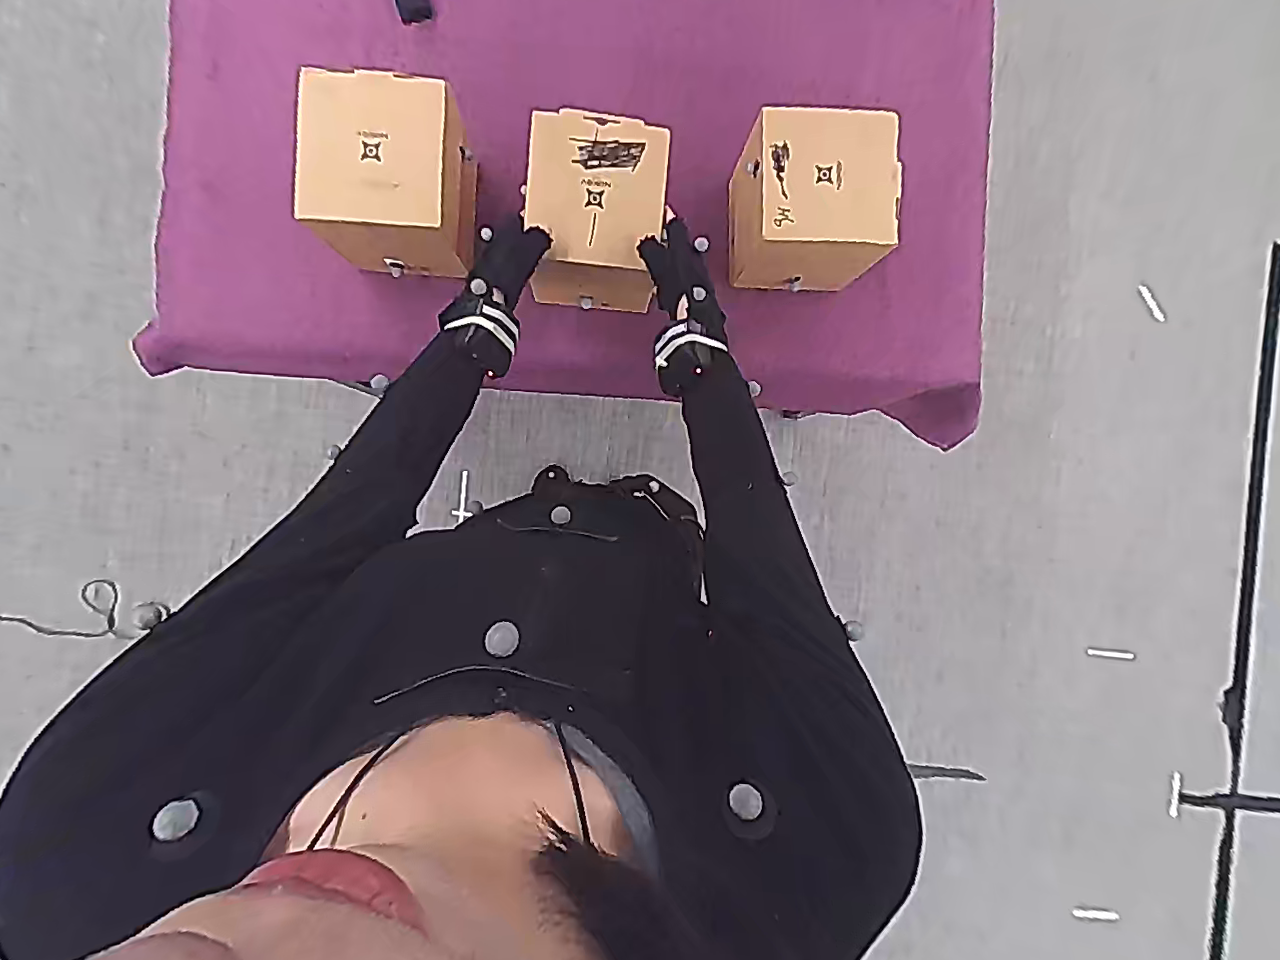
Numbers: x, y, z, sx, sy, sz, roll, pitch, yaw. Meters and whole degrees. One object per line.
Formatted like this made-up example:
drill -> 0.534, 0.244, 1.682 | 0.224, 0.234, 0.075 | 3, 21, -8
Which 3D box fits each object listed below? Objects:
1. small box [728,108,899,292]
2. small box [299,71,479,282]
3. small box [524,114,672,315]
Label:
small box -> 0.229, -0.371, 0.748 | 0.179, 0.176, 0.168 | 0, 89, -5
small box -> -0.311, -0.379, 0.703 | 0.168, 0.176, 0.179 | 1, 90, -4
small box -> -0.056, -0.339, 0.723 | 0.168, 0.176, 0.179 | 4, 89, -4
